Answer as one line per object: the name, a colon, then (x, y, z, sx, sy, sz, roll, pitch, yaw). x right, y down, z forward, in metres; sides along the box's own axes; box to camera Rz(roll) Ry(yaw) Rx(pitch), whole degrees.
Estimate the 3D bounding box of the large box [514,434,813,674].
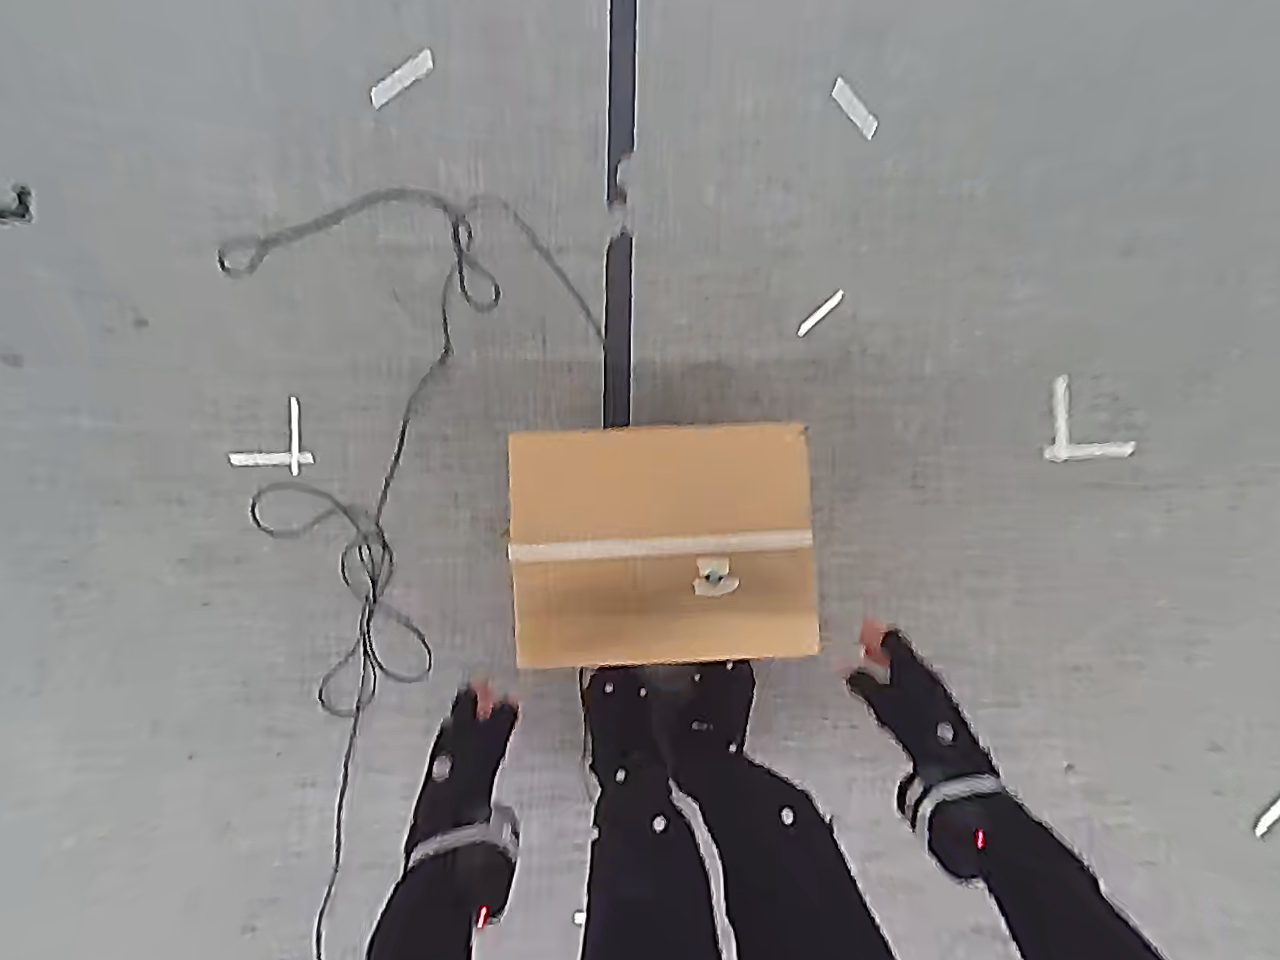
large box: (0.026, 0.109, 0.894, 0.408, 0.320, 0.320, -3, 88, -2)
